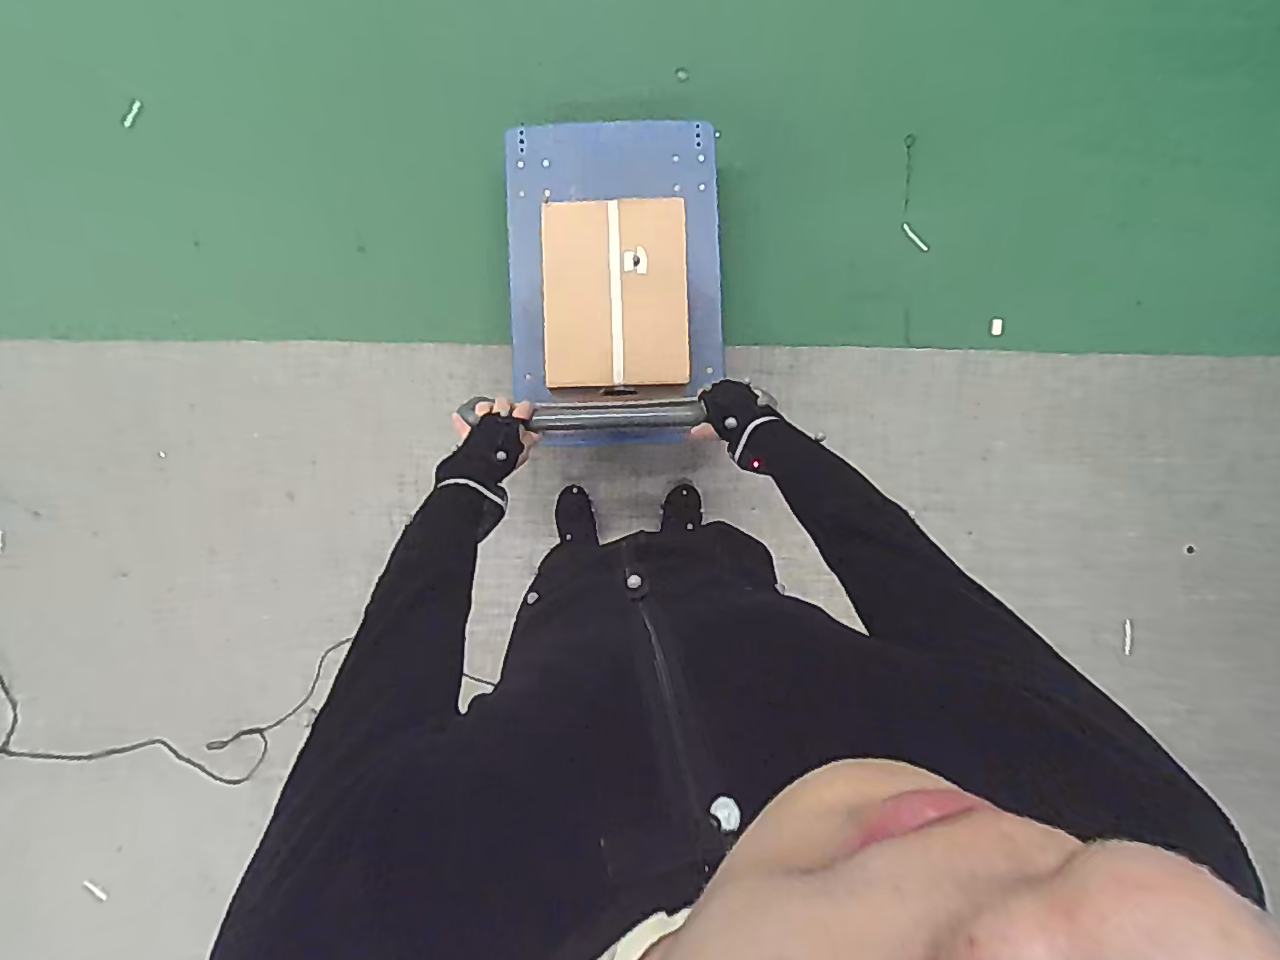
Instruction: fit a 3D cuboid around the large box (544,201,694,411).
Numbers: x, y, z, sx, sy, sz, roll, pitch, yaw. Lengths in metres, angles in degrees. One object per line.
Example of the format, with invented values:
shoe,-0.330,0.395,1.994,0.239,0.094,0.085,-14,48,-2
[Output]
large box,-0.046,-0.394,1.313,0.320,0.320,0.408,-2,89,0
